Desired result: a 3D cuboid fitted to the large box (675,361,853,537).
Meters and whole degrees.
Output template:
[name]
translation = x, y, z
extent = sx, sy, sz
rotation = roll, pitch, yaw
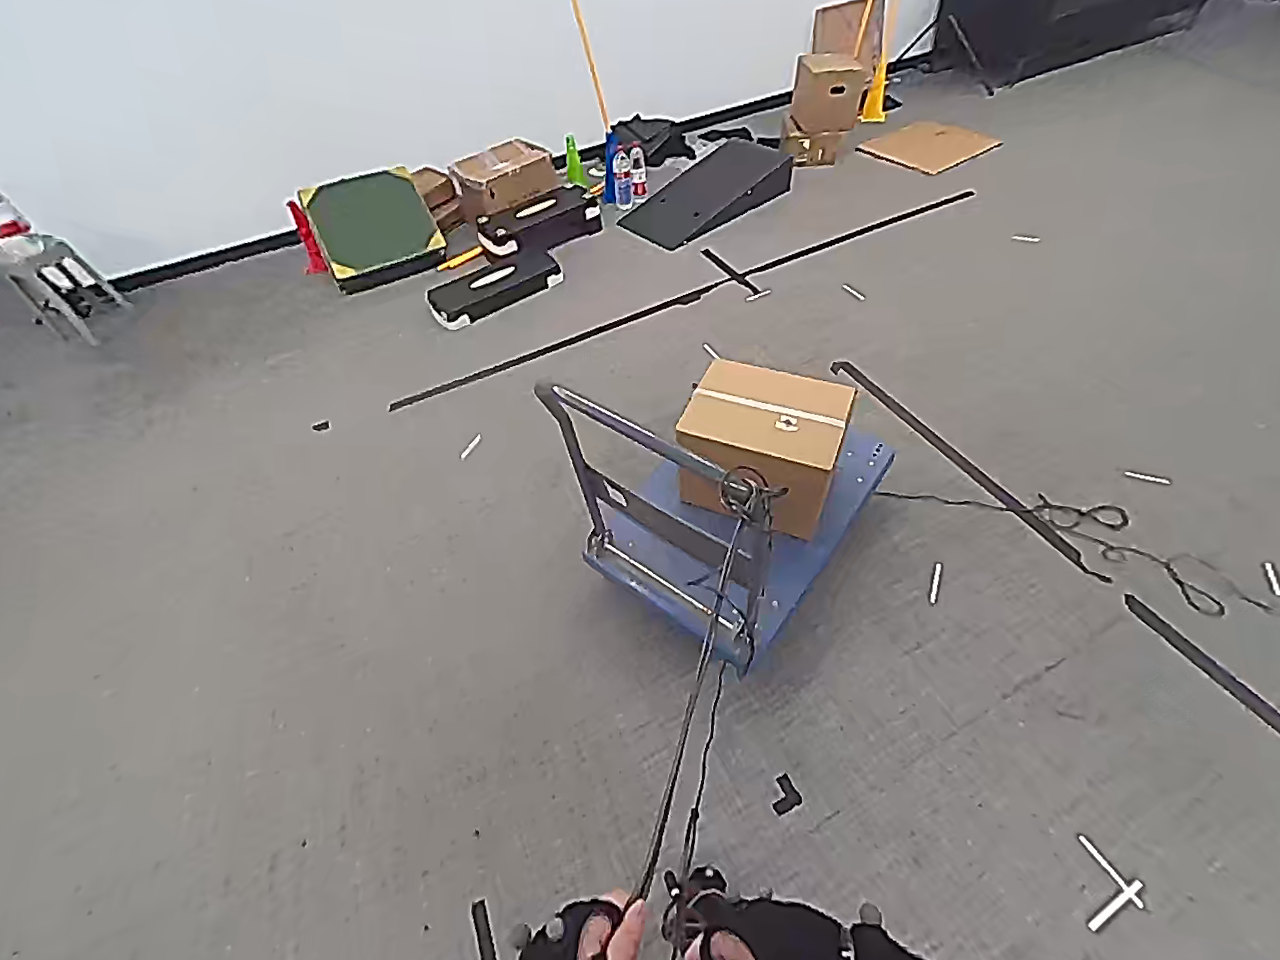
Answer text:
[large box]
translation = 0.338, -0.089, 1.535
extent = 0.408, 0.320, 0.320
rotation = 17, 55, 18
